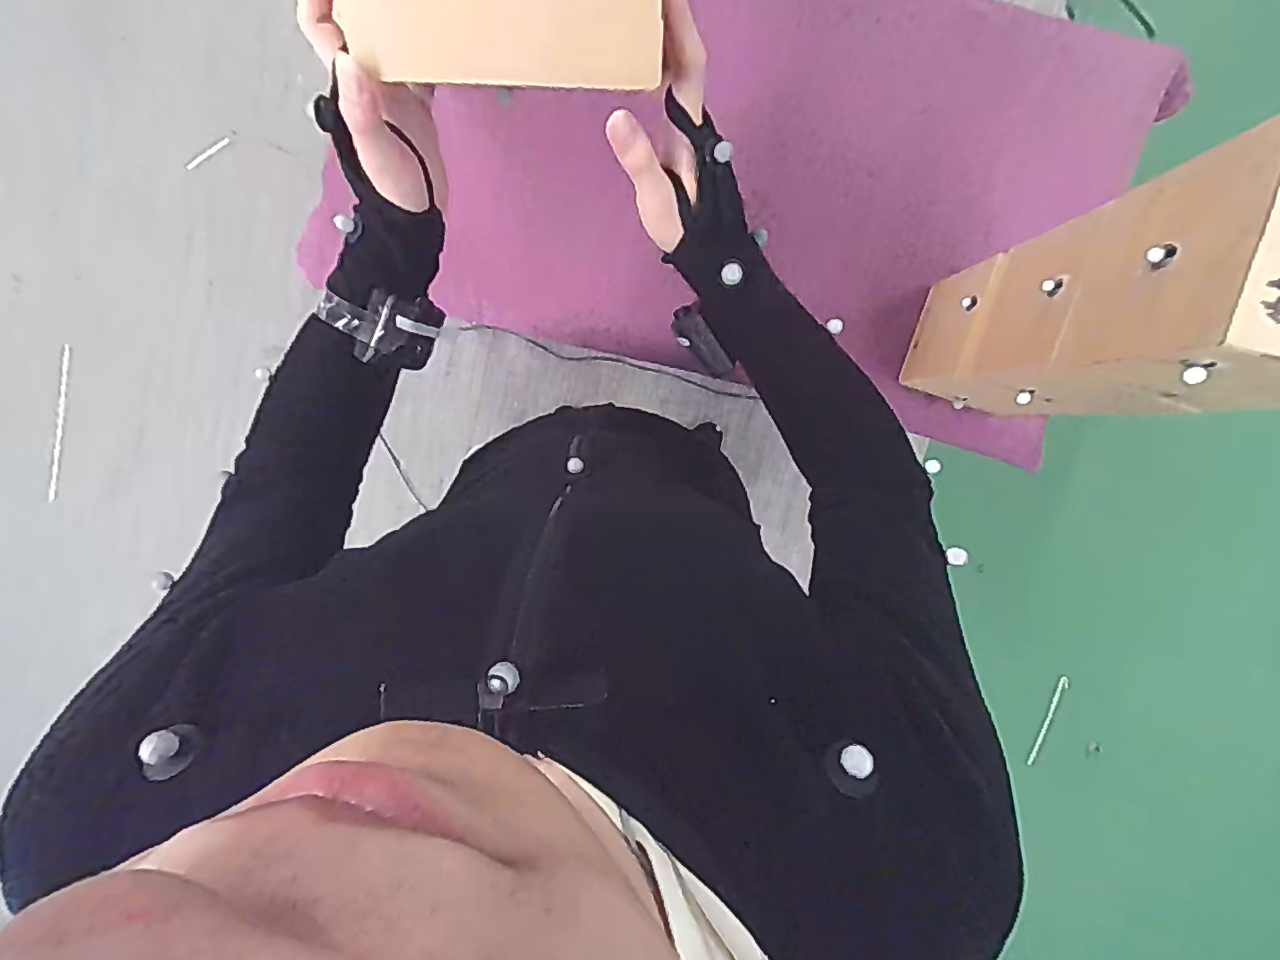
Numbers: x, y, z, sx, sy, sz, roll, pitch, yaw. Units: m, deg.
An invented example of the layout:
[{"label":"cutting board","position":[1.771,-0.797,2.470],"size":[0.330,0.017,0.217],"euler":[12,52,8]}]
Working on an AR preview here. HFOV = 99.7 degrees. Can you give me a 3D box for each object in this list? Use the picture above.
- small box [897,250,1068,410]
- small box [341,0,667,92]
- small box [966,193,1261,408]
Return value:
[{"label":"small box","position":[0.520,-0.208,0.792],"size":[0.179,0.176,0.168],"euler":[17,96,-3]},{"label":"small box","position":[-0.071,-0.342,0.319],"size":[0.179,0.176,0.168],"euler":[0,132,-3]},{"label":"small box","position":[0.524,-0.191,0.630],"size":[0.168,0.176,0.179],"euler":[18,97,-1]}]
